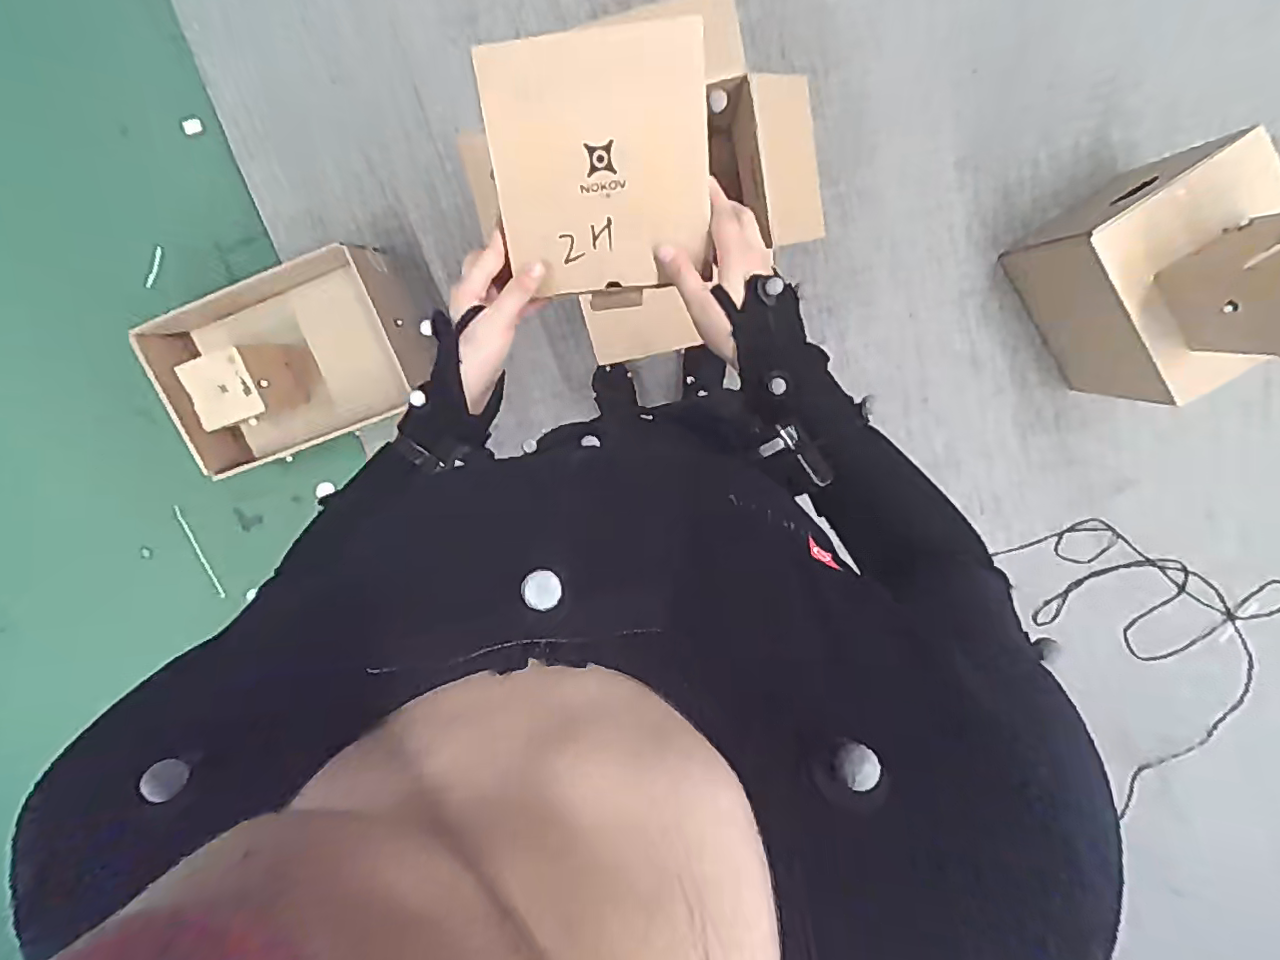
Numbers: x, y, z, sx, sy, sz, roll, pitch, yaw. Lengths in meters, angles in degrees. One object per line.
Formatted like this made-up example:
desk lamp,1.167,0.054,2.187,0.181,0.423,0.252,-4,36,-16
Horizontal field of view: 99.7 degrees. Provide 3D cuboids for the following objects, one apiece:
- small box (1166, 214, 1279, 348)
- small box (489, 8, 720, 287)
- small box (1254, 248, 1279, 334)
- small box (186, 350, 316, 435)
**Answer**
small box,1.078,-0.342,0.928,0.168,0.176,0.179,-34,100,13
small box,-0.019,-0.278,0.488,0.168,0.176,0.179,-3,115,5
small box,1.070,-0.289,0.774,0.168,0.176,0.179,-33,99,14
small box,-0.984,-0.225,1.382,0.179,0.176,0.168,-17,102,8
